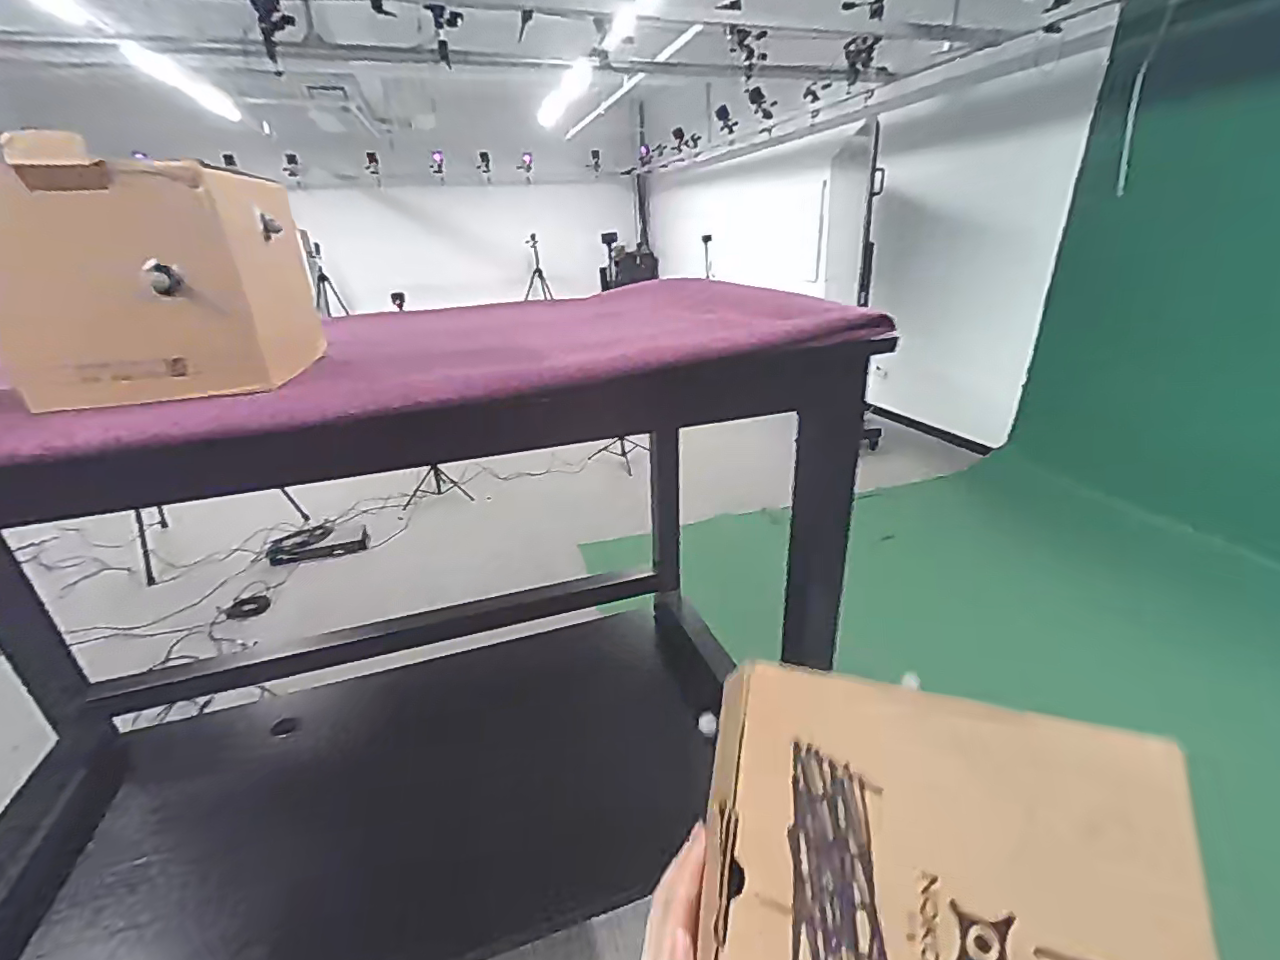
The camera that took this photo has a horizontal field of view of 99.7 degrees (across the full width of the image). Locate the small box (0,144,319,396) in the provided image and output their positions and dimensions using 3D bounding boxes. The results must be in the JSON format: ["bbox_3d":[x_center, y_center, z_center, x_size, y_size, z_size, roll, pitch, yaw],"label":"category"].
[{"bbox_3d":[-0.396,-0.170,0.453,0.168,0.176,0.179,-8,24,-13],"label":"small box"}]

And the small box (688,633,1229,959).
[{"bbox_3d":[0.120,0.183,0.267,0.179,0.176,0.168,8,70,8],"label":"small box"}]
